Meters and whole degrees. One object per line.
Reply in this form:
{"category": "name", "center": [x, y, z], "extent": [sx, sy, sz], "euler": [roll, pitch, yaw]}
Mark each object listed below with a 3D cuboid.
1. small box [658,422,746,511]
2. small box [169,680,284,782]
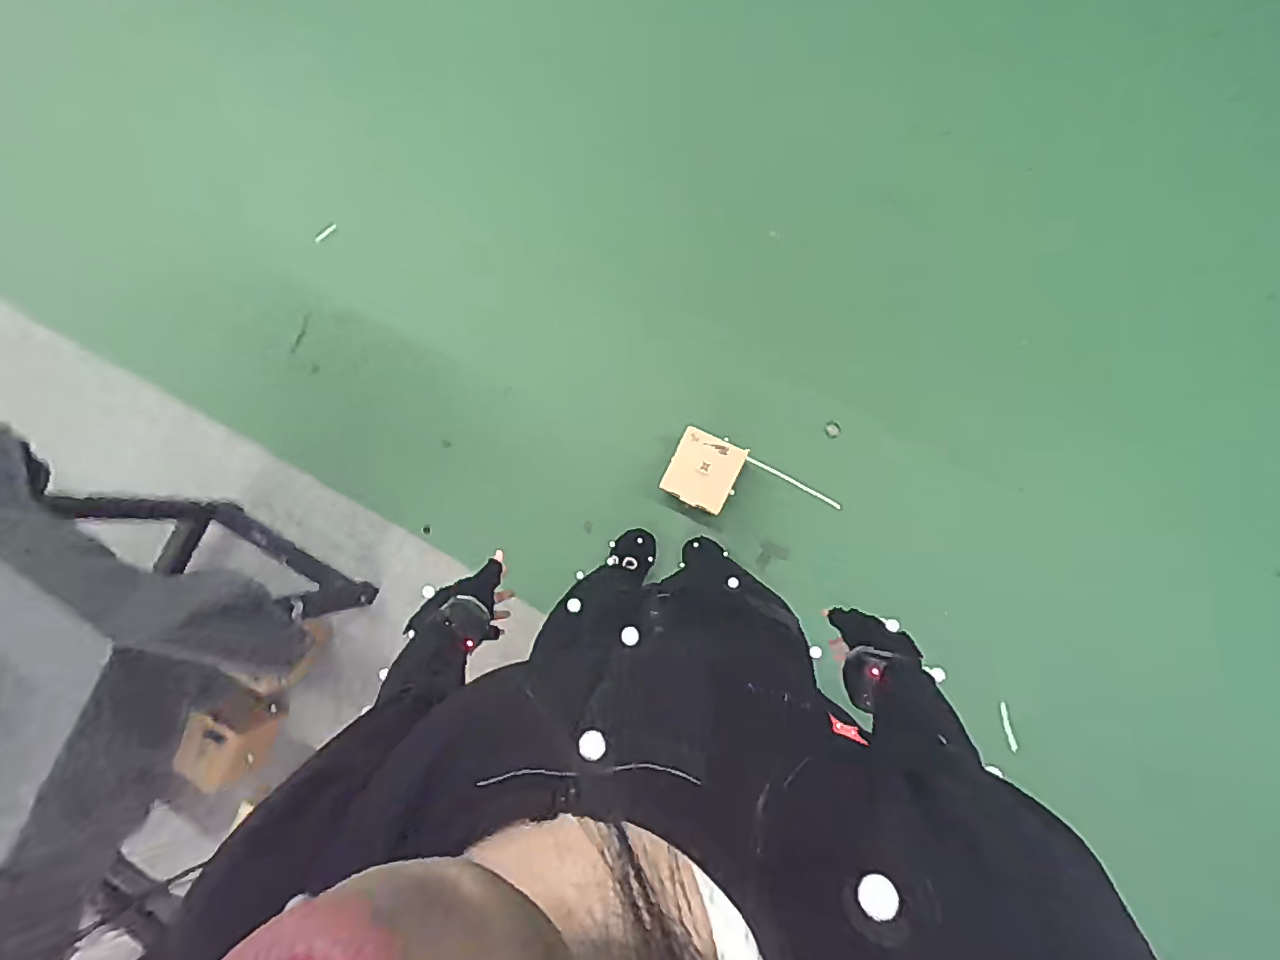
{"category": "small box", "center": [0.165, -0.030, 1.418], "extent": [0.168, 0.176, 0.179], "euler": [27, 91, 8]}
{"category": "small box", "center": [-1.163, 0.702, 1.538], "extent": [0.168, 0.176, 0.179], "euler": [26, 91, 8]}
